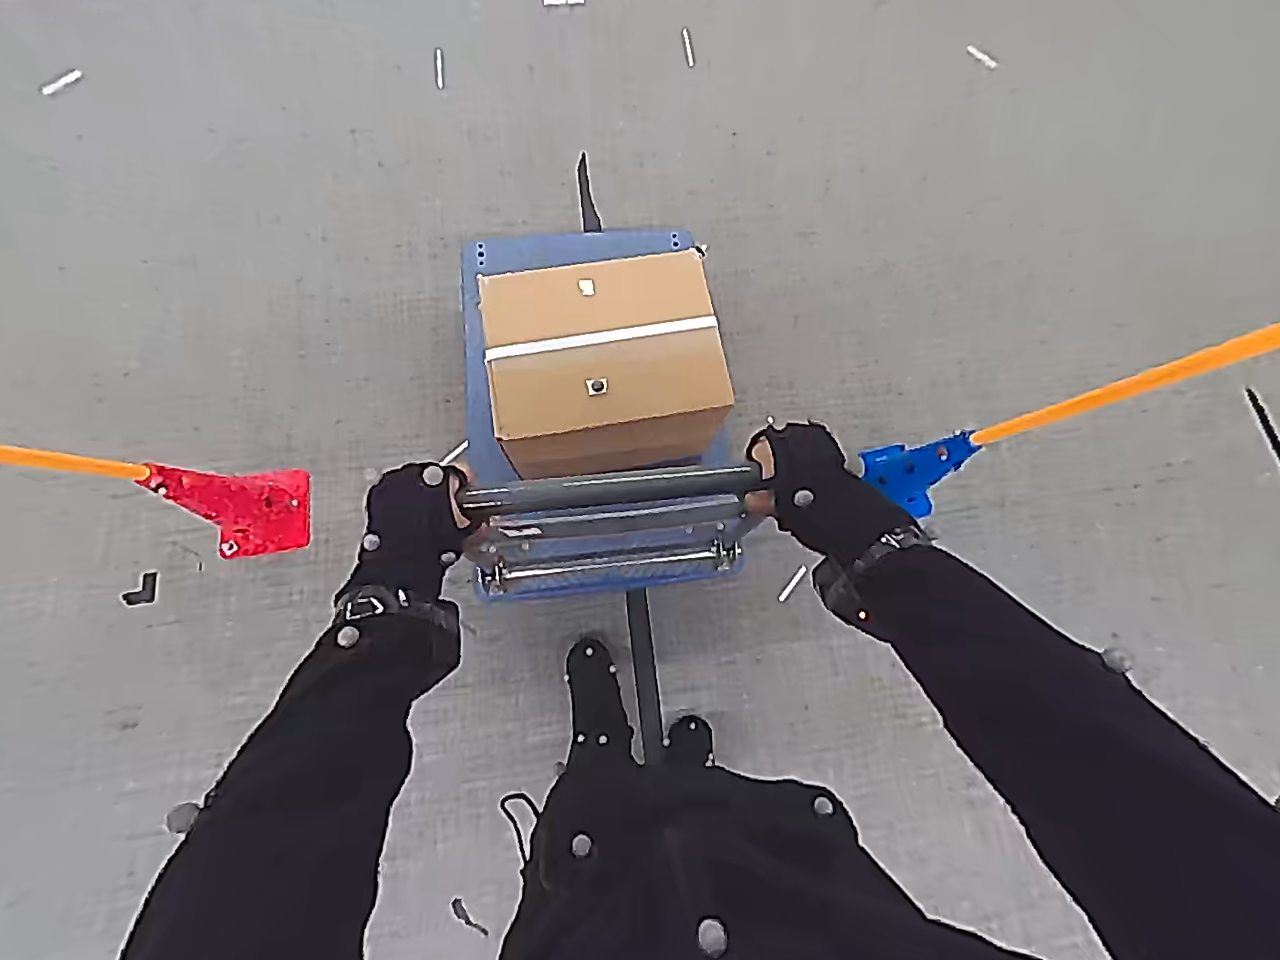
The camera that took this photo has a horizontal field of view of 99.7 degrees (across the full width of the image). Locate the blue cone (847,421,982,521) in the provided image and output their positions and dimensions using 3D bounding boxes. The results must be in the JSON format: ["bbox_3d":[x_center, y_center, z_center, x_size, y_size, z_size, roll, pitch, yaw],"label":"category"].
[{"bbox_3d":[0.656,-0.040,1.247,0.193,0.380,0.192,-10,75,-7],"label":"blue cone"}]
